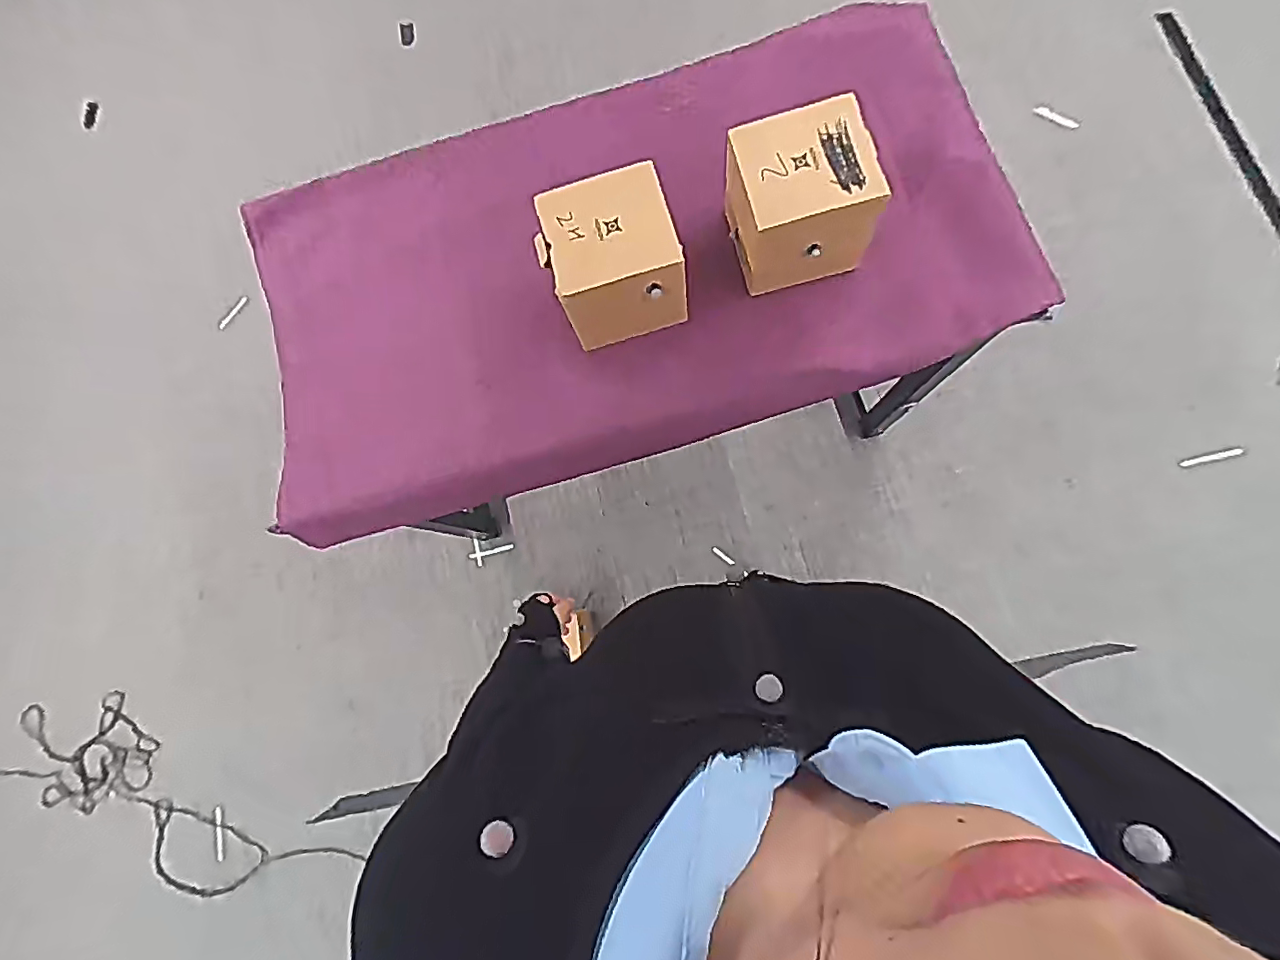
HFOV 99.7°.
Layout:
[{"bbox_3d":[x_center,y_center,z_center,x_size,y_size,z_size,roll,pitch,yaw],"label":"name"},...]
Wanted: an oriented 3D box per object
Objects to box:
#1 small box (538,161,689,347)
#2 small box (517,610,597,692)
[{"bbox_3d":[-0.031,-0.325,0.808,0.179,0.176,0.168,-16,77,4],"label":"small box"},{"bbox_3d":[-0.214,0.447,1.433,0.168,0.176,0.179,-9,78,5],"label":"small box"}]
